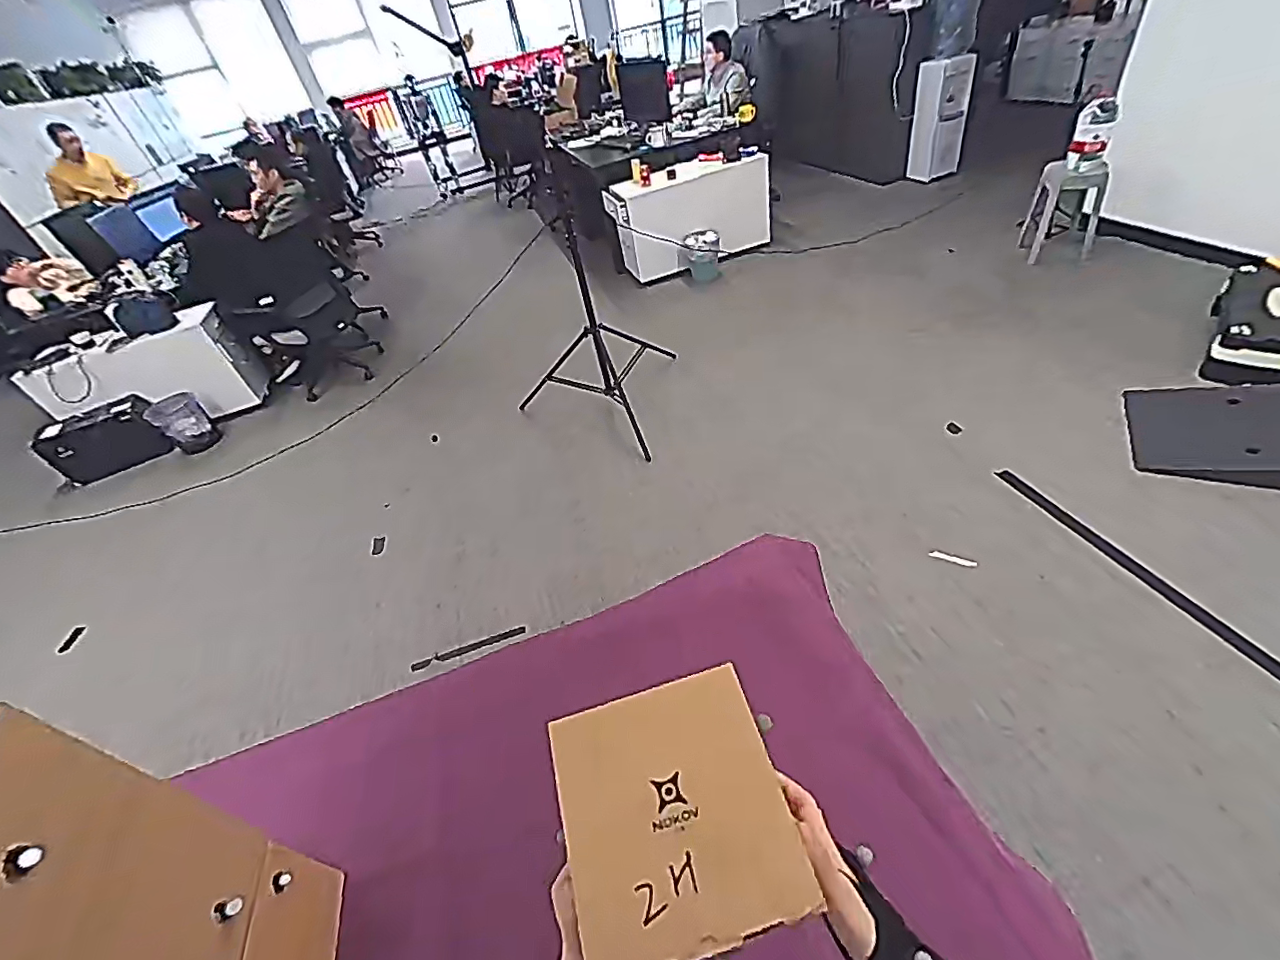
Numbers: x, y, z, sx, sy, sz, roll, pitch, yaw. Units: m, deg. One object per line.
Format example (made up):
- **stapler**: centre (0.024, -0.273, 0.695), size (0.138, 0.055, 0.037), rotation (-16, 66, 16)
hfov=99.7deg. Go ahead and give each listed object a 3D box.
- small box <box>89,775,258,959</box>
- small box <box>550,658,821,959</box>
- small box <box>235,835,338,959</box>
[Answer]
- **small box**: centre (-0.501, 0.422, 0.504), size (0.168, 0.176, 0.179), rotation (-20, 41, -6)
- **small box**: centre (0.033, 0.287, 0.464), size (0.168, 0.176, 0.179), rotation (-18, 49, -3)
- **small box**: centre (-0.469, 0.546, 0.607), size (0.168, 0.176, 0.179), rotation (-19, 41, -6)
